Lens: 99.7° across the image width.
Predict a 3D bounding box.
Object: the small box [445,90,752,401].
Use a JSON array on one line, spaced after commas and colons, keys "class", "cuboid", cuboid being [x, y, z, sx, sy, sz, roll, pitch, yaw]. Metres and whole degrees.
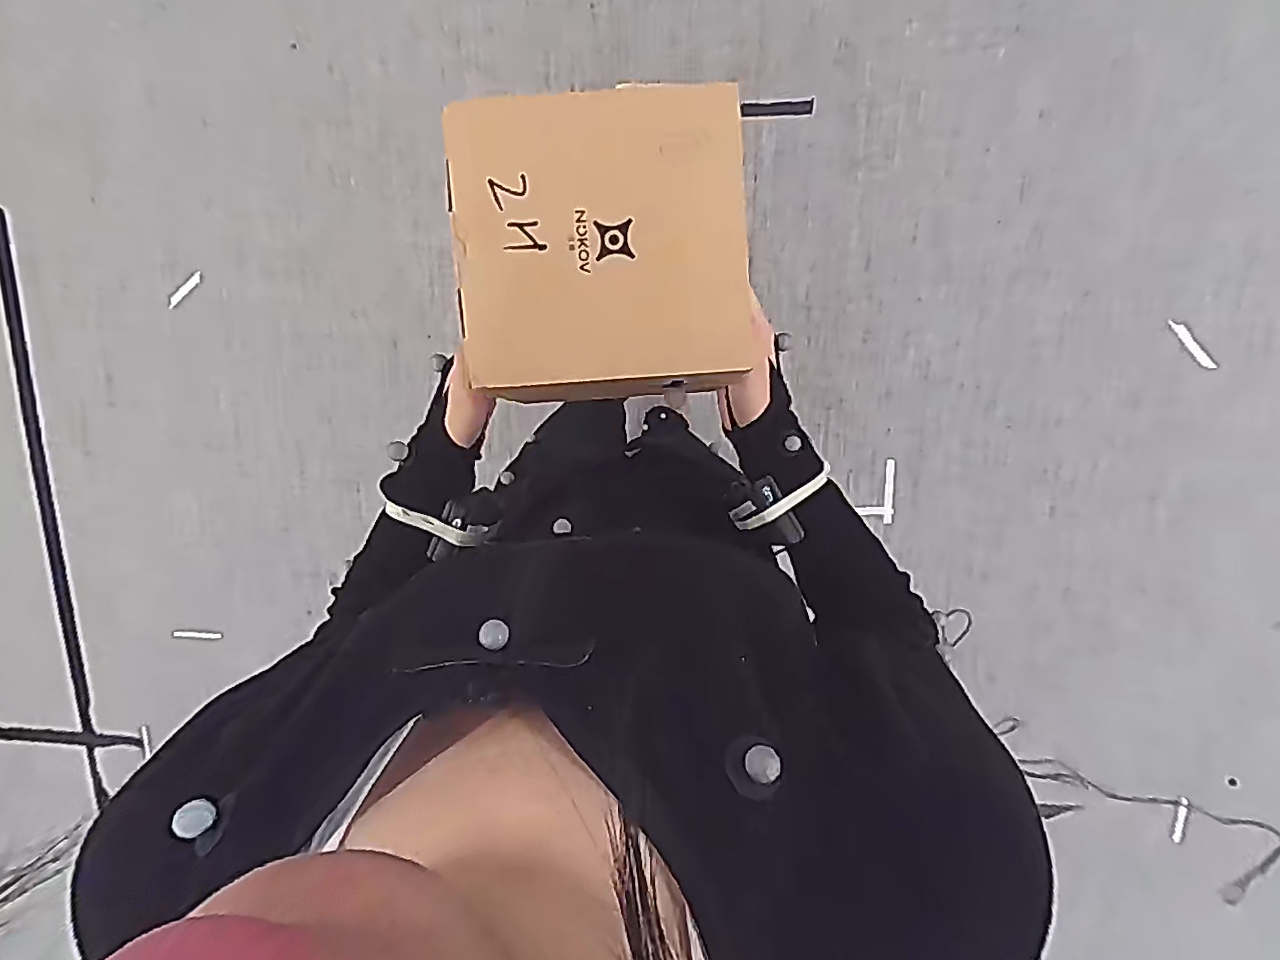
[{"class": "small box", "cuboid": [-0.023, -0.148, 0.398, 0.179, 0.176, 0.168, -3, 95, 0]}]
